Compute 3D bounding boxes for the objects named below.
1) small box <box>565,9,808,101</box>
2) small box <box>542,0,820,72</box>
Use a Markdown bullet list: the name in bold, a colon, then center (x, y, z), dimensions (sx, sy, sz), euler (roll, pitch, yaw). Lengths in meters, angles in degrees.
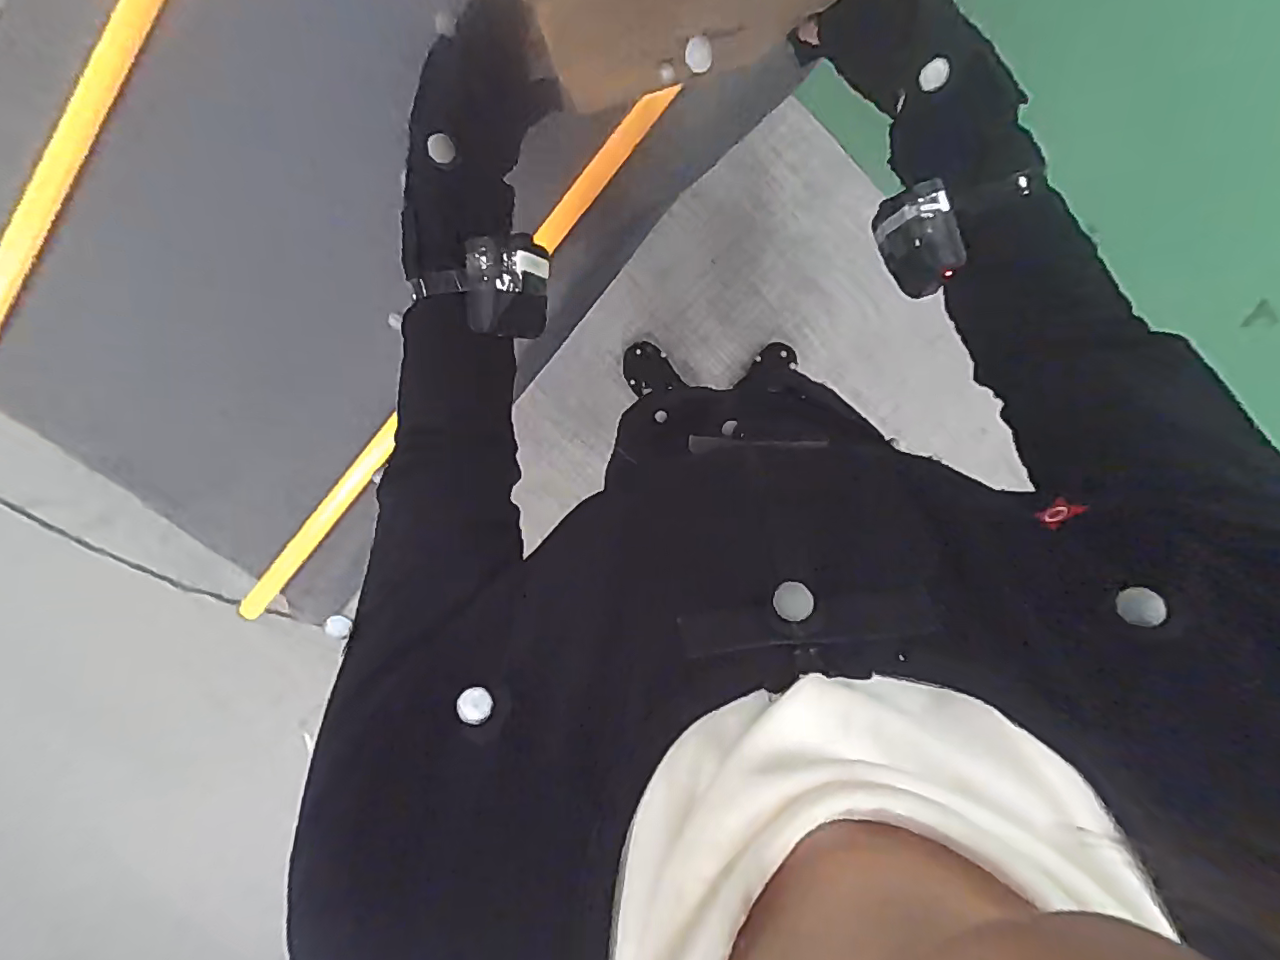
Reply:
- **small box**: center (0.012, -0.385, 0.359), dimensions (0.168, 0.176, 0.179), euler (-13, 118, 5)
- **small box**: center (0.019, -0.301, 0.216), dimensions (0.168, 0.176, 0.179), euler (-13, 119, 4)
